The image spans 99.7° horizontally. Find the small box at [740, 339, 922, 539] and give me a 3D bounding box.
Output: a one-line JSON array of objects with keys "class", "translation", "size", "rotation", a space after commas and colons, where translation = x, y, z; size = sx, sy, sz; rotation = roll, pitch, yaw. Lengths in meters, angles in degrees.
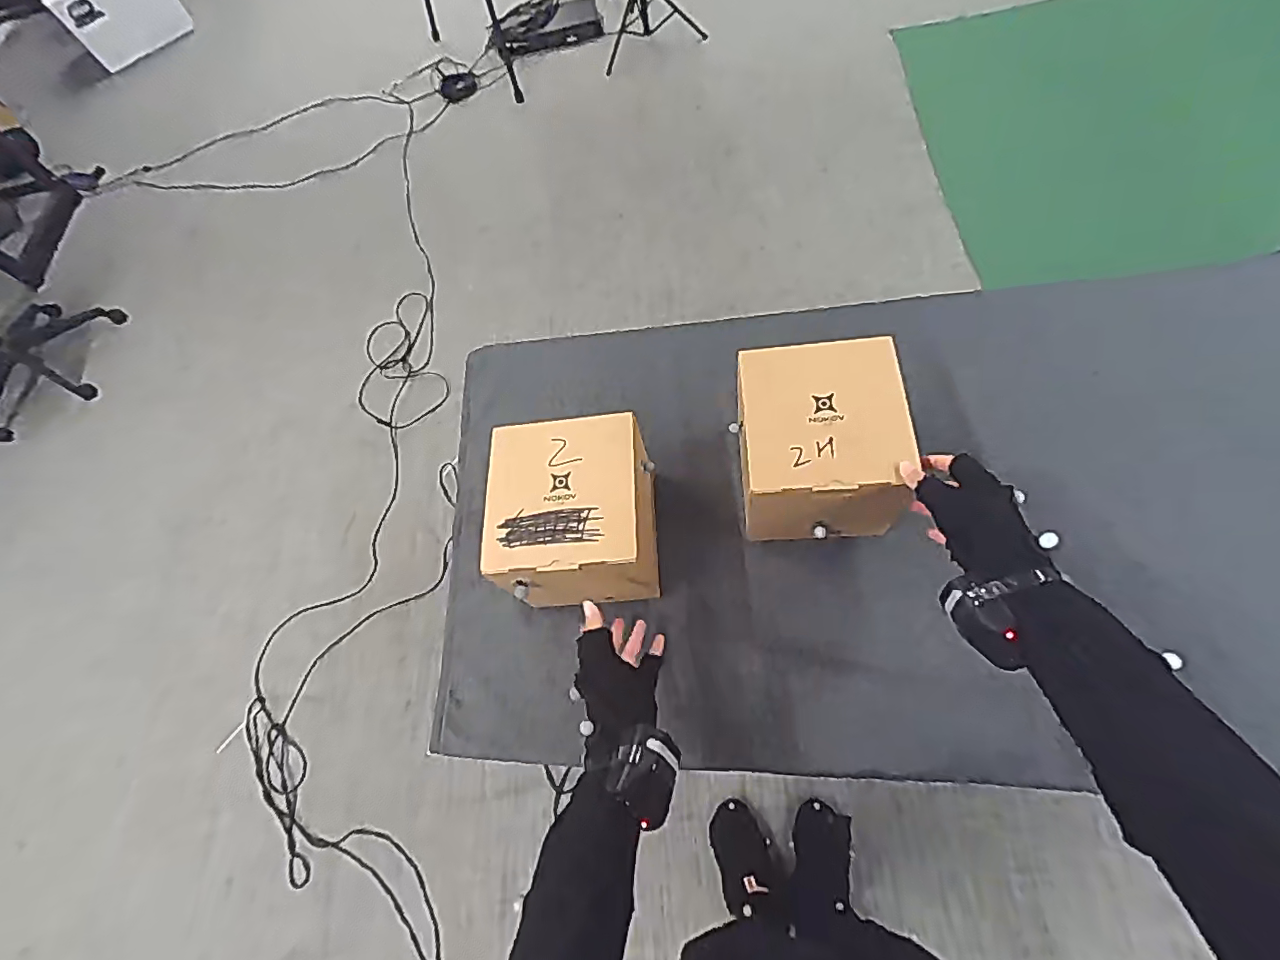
[{"class": "small box", "translation": [0.206, -0.039, 0.638], "size": [0.168, 0.176, 0.179], "rotation": [-4, 67, 9]}]
